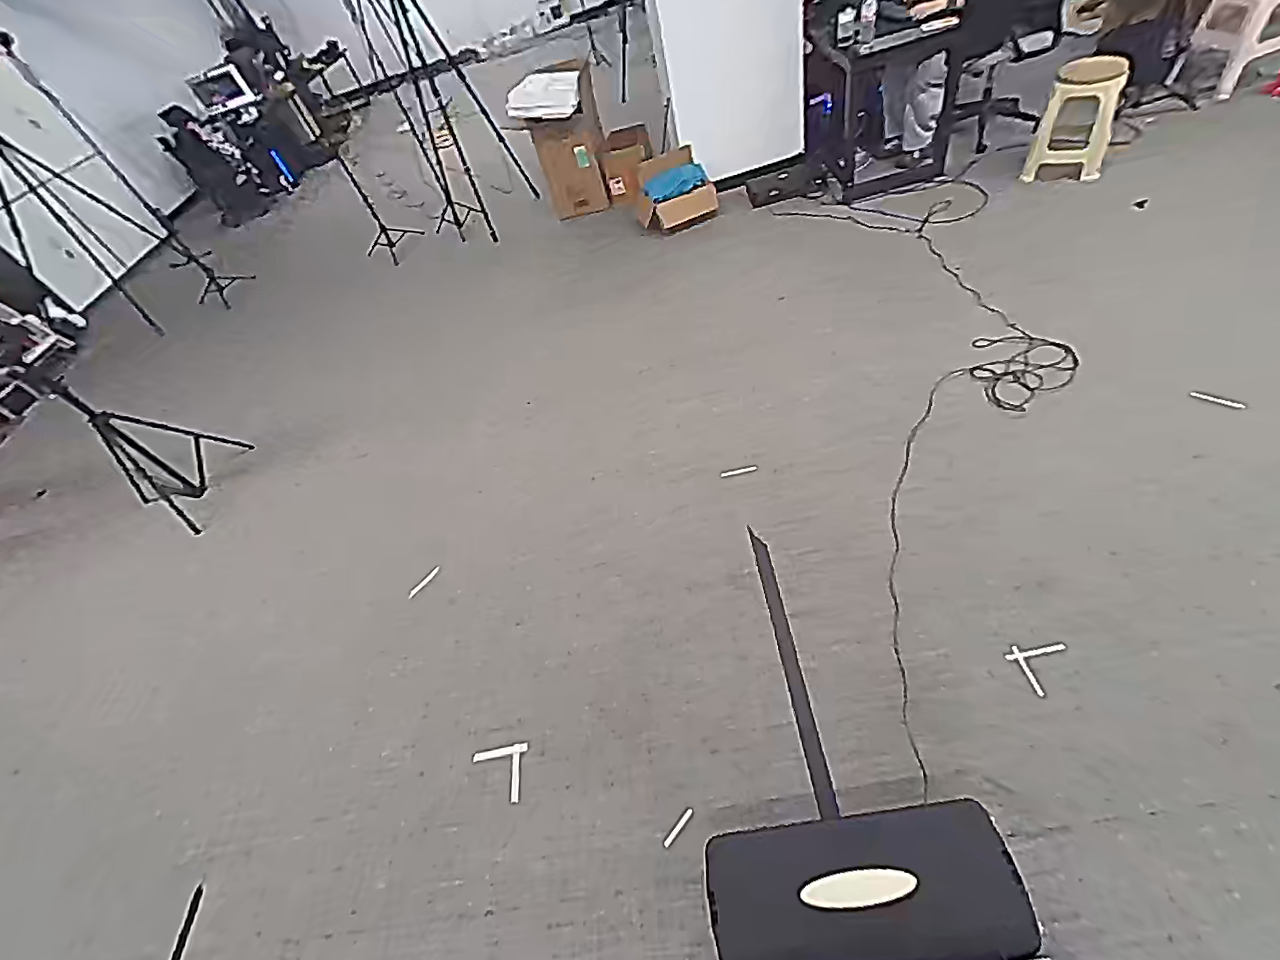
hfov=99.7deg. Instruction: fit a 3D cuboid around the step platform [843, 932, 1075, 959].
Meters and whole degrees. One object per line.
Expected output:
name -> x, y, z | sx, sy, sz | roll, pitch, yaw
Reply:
step platform -> 0.514, 1.073, 1.012 | 0.684, 0.204, 0.286 | -15, 47, 7
